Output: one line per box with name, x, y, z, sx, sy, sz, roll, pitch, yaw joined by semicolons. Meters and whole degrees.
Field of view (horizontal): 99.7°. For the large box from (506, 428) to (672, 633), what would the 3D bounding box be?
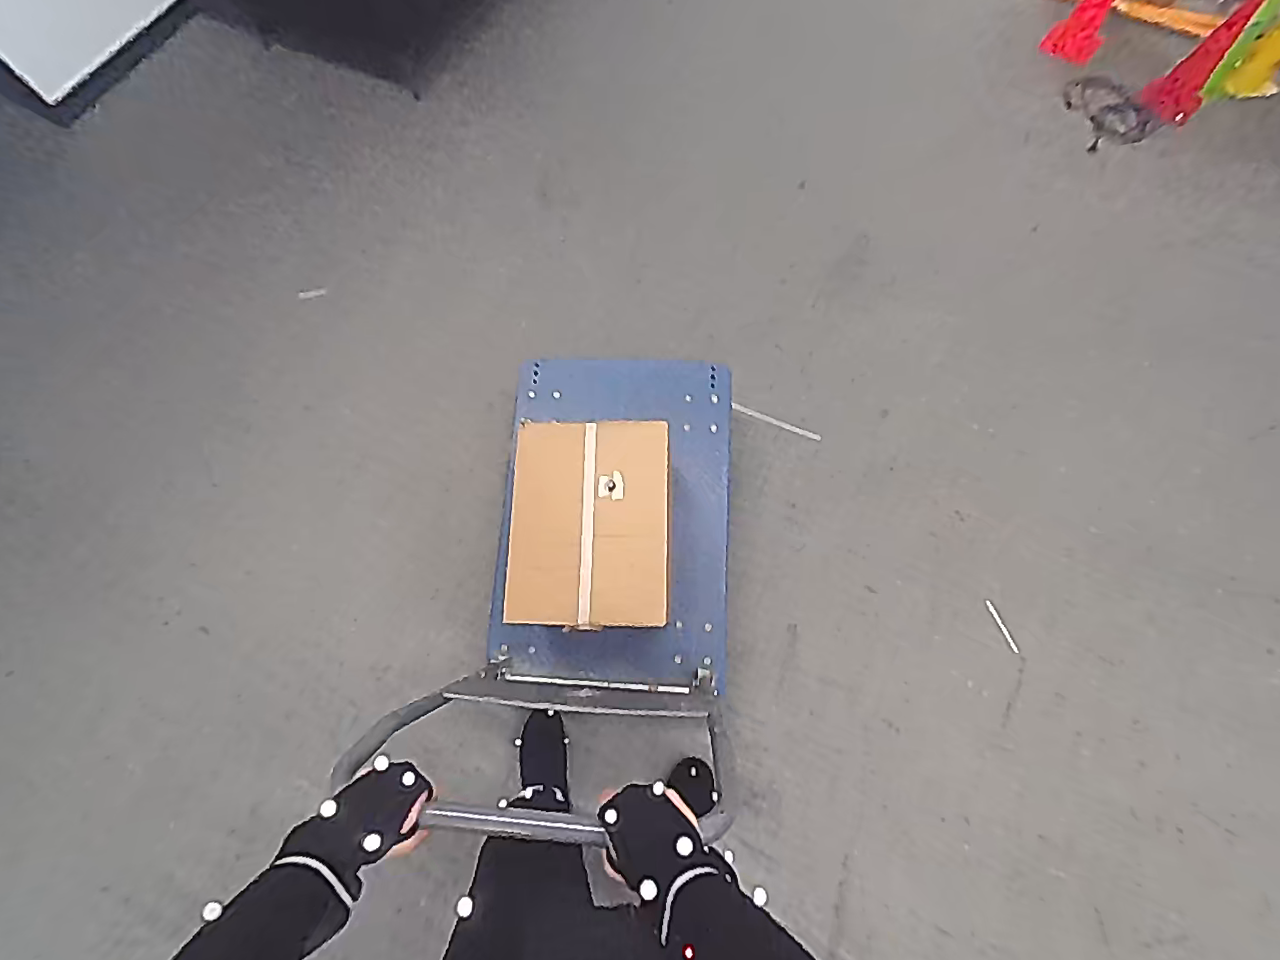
large box;-0.094;0.128;1.210;0.320;0.320;0.408;-1;77;4
